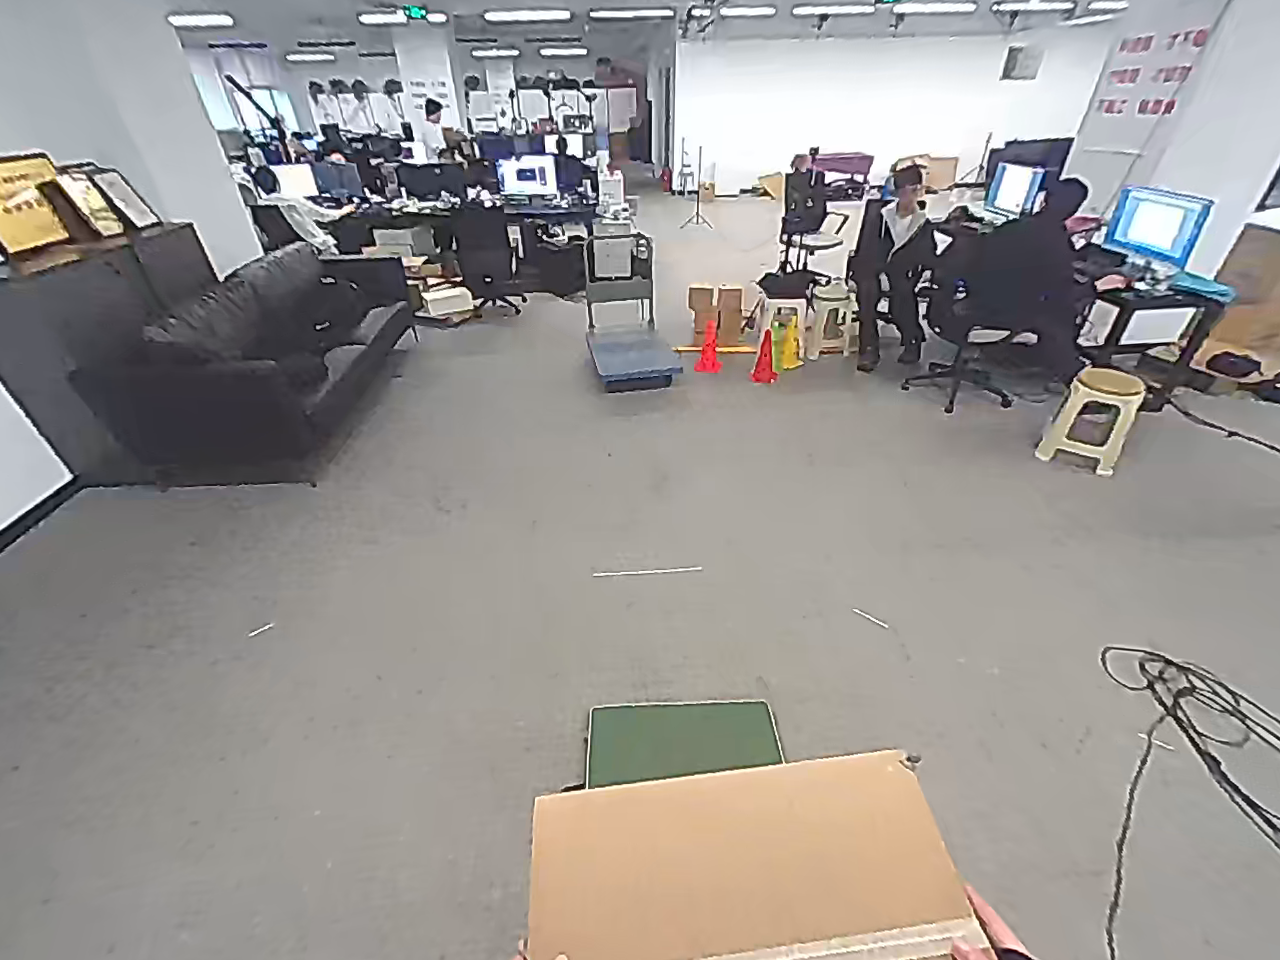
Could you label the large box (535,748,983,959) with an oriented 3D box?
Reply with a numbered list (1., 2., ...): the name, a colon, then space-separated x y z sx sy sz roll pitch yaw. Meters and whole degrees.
1. large box: 0.110 0.536 0.586 0.408 0.320 0.320 -6 44 -3
